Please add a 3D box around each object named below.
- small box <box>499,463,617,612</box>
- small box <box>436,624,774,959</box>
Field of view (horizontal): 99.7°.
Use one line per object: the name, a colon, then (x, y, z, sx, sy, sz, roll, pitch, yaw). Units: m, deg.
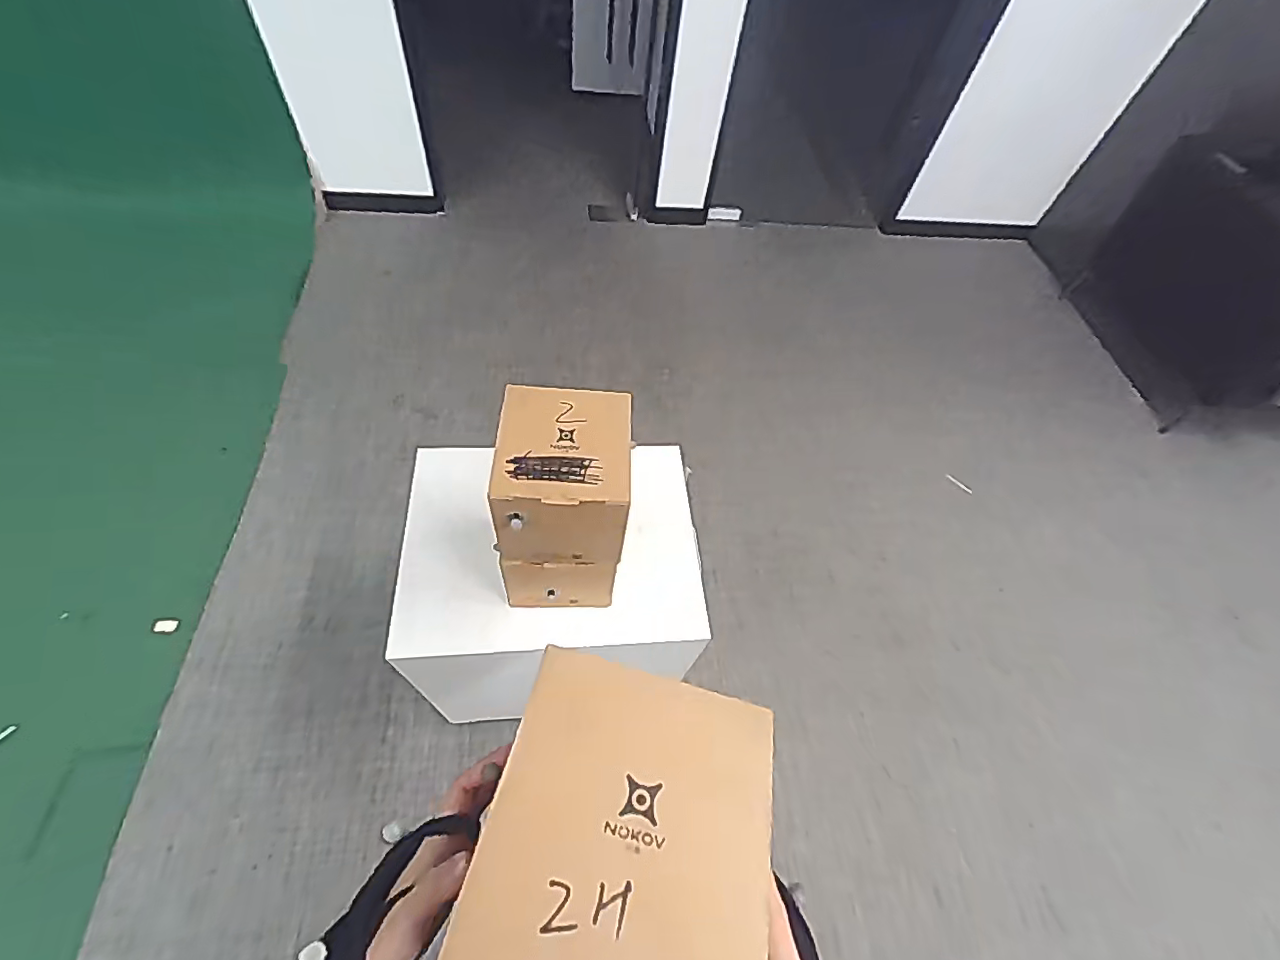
small box: (-0.126, 0.094, 0.858, 0.168, 0.176, 0.179, 1, 55, -7)
small box: (-0.020, 0.234, 0.365, 0.168, 0.176, 0.179, 17, 44, 0)
